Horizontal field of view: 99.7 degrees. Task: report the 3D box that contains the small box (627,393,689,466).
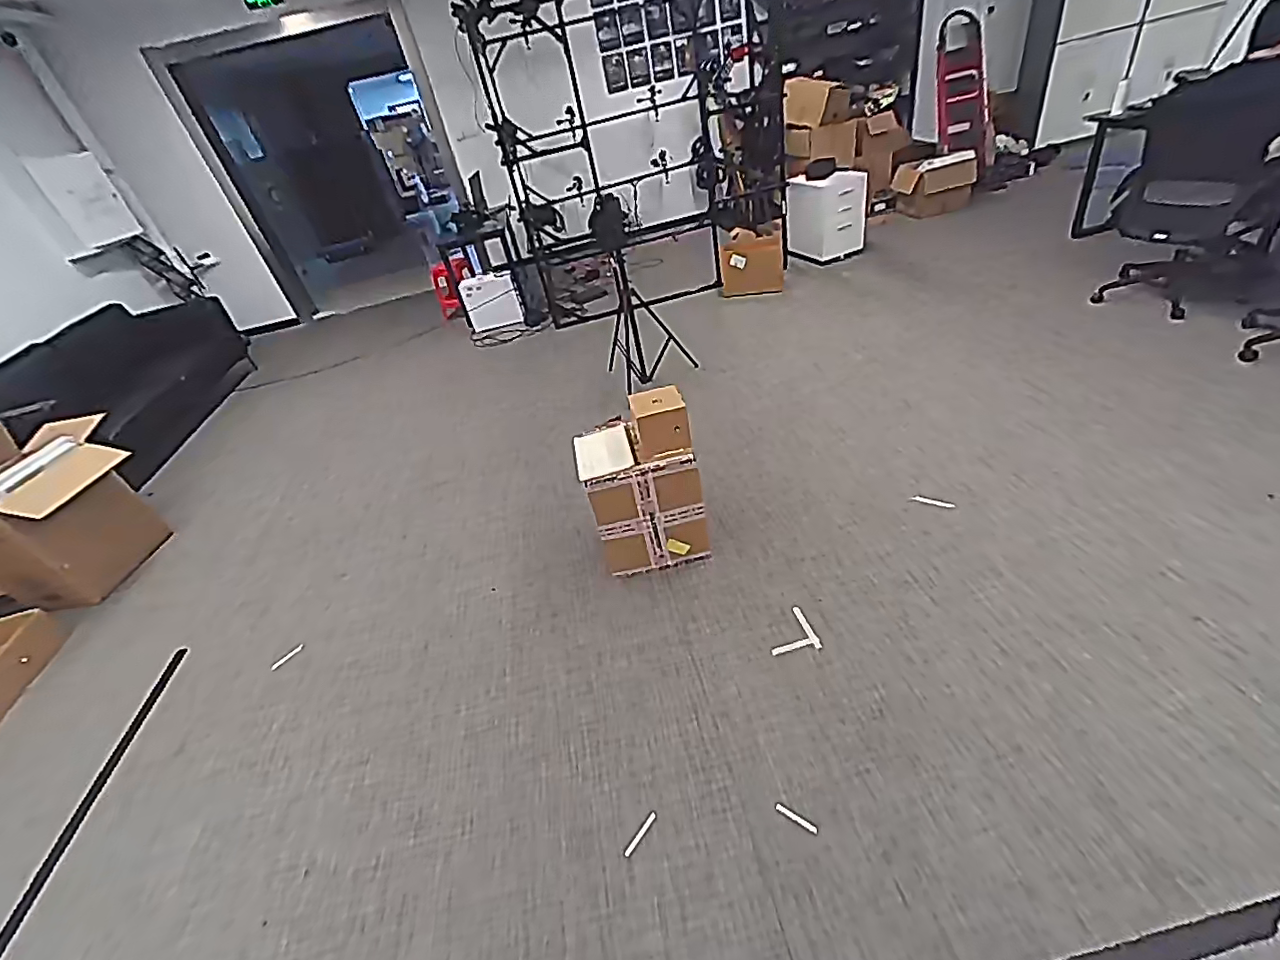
[{"bbox_3d":[0.066,-0.174,1.874,0.179,0.176,0.168,-15,38,-4],"label":"small box"}]
